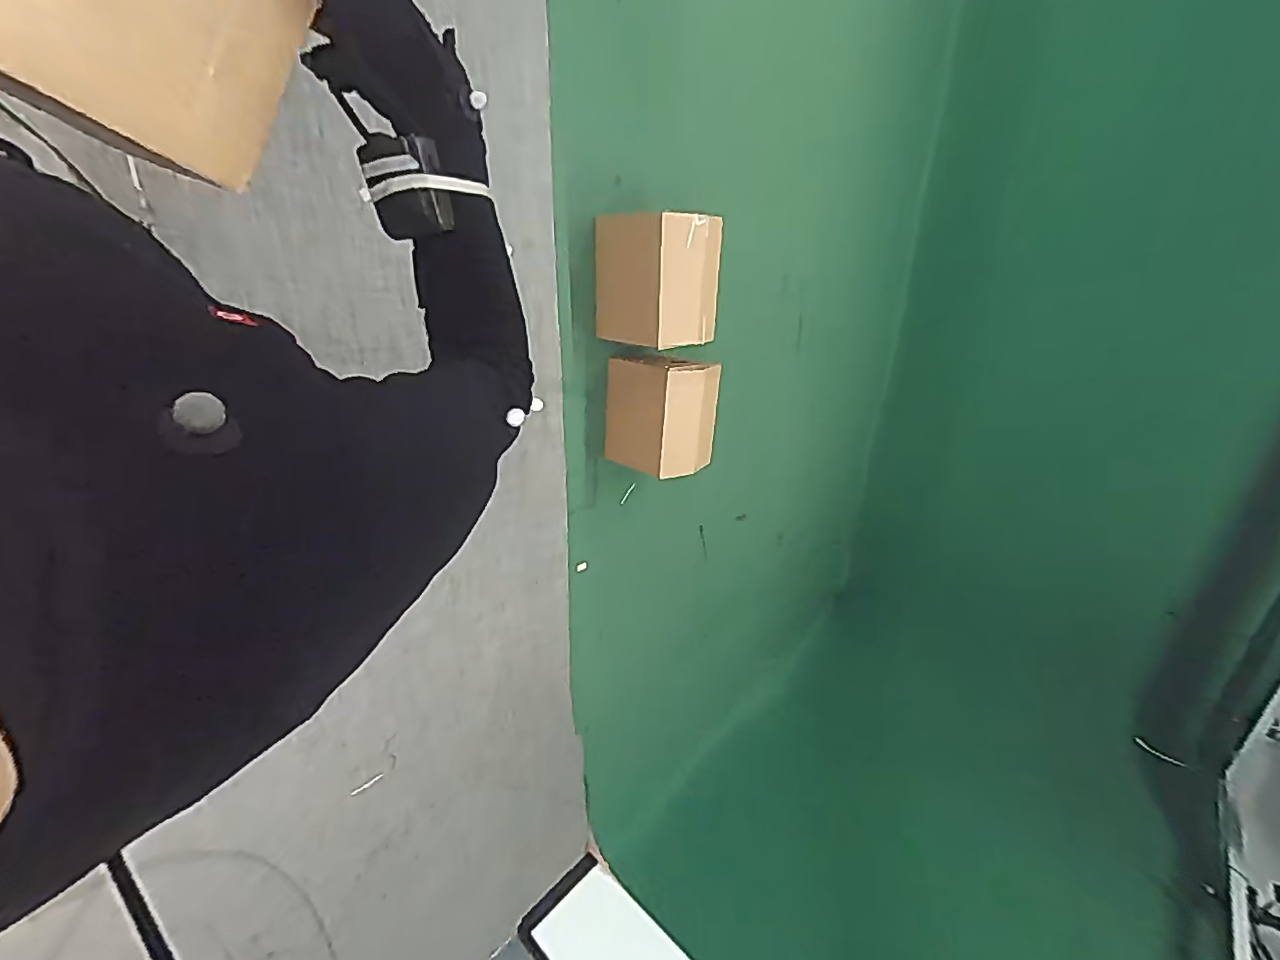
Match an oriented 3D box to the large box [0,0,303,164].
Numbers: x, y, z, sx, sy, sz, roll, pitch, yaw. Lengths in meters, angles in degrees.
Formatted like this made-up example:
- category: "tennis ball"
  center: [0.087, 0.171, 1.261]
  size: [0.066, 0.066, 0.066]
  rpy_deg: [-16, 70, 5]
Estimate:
- category: "large box"
  center: [-0.411, -0.432, 0.253]
  size: [0.408, 0.320, 0.320]
  rpy_deg: [18, 101, -57]
